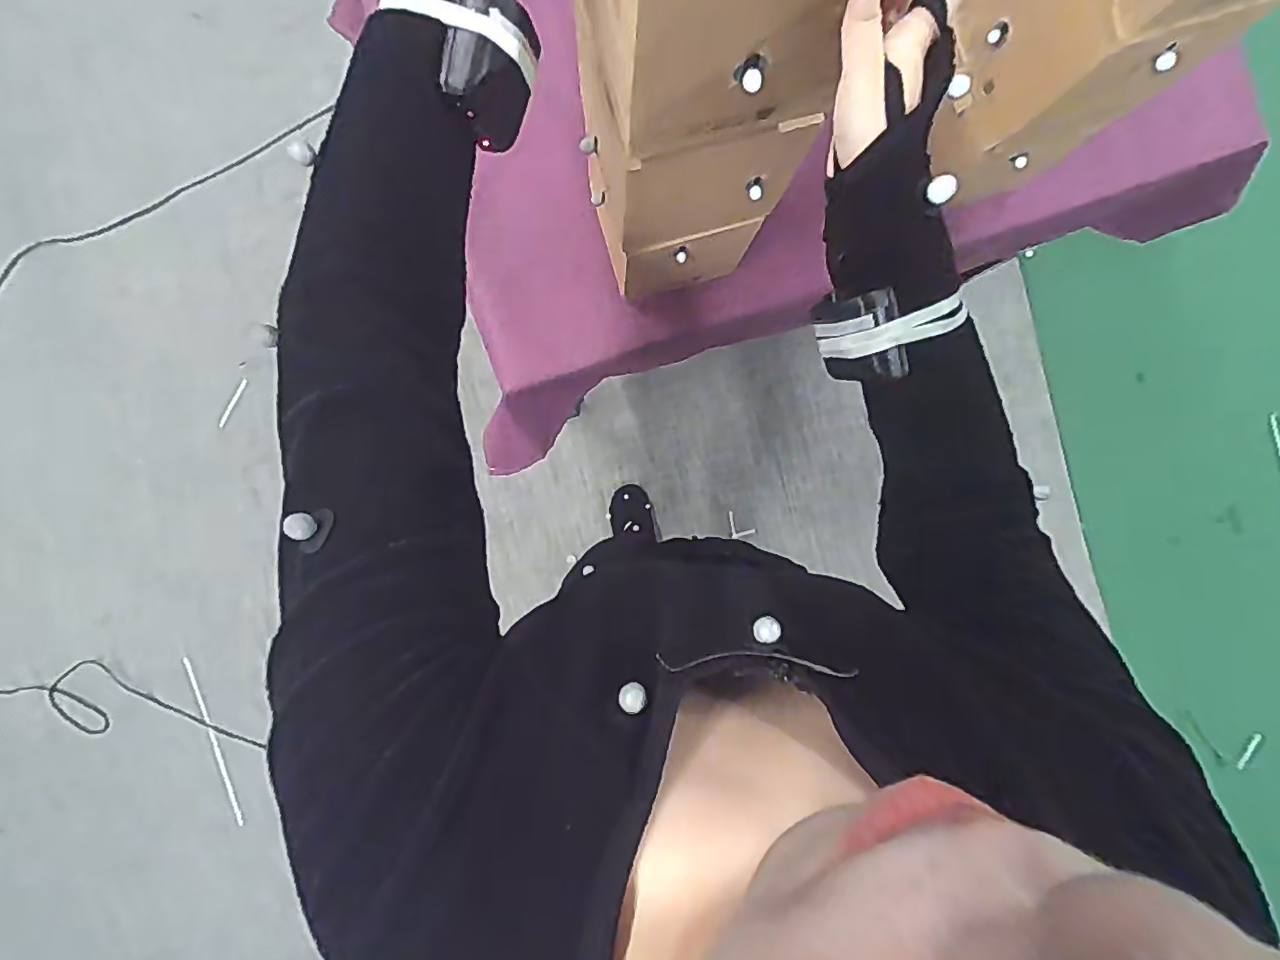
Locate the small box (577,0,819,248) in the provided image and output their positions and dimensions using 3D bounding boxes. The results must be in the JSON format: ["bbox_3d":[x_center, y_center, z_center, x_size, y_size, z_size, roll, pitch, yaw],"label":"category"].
[{"bbox_3d":[0.043,-0.352,0.524,0.179,0.176,0.168,-15,92,-2],"label":"small box"}]

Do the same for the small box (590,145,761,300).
[{"bbox_3d":[0.034,-0.355,0.688,0.168,0.176,0.179,-16,91,-2],"label":"small box"}]

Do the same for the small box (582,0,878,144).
[{"bbox_3d":[0.048,-0.342,0.334,0.168,0.176,0.179,-15,94,-3],"label":"small box"}]

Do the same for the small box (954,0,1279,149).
[{"bbox_3d":[0.464,-0.477,0.544,0.179,0.176,0.168,-18,92,-2],"label":"small box"}]

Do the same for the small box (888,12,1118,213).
[{"bbox_3d":[0.452,-0.480,0.707,0.179,0.176,0.168,-17,92,-3],"label":"small box"}]
